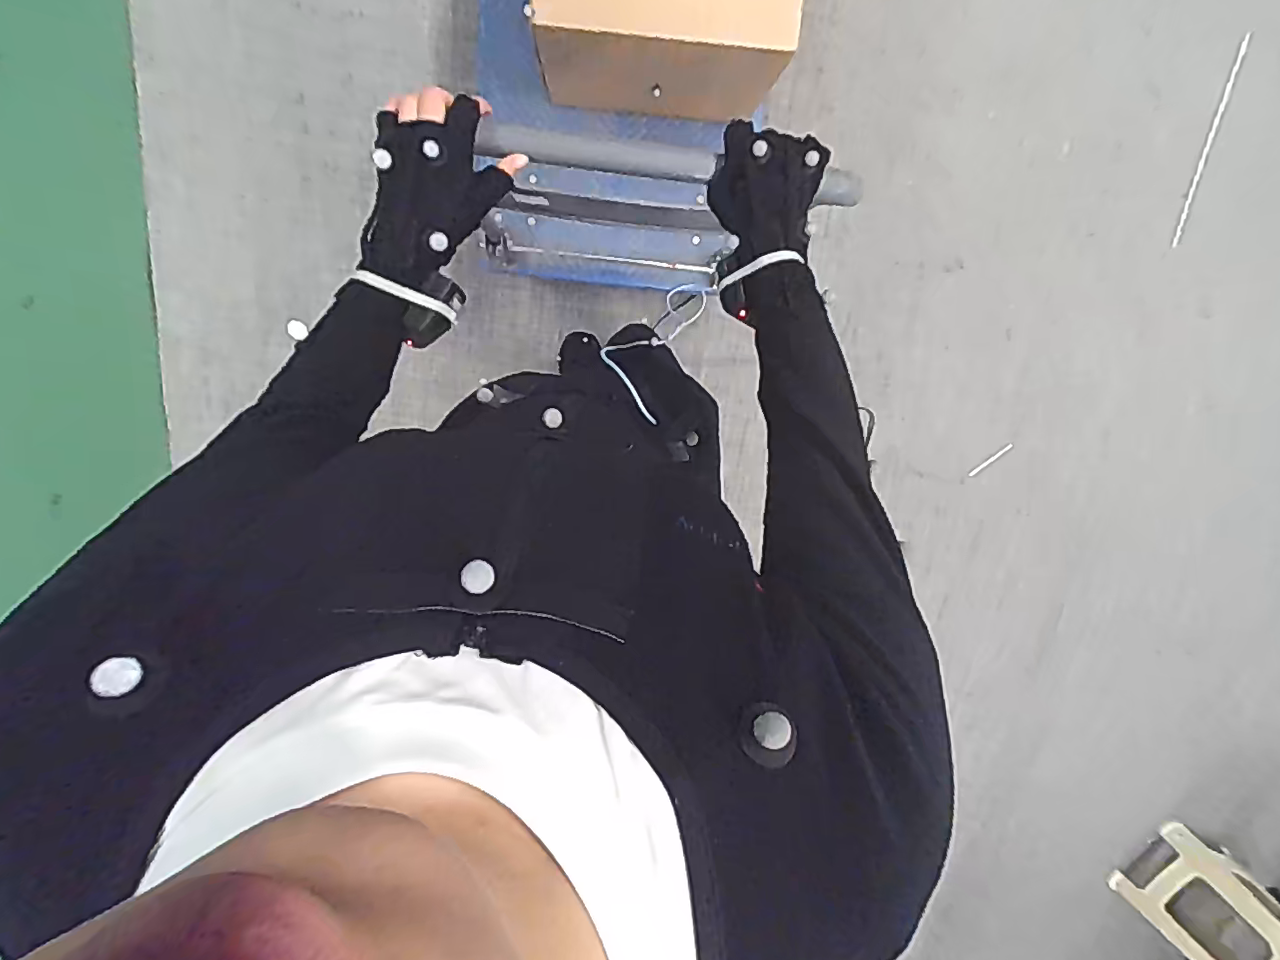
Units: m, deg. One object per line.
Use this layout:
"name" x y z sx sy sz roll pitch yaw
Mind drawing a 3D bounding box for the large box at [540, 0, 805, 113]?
"large box" 0.051 -0.862 0.923 0.408 0.320 0.320 2 106 -3
